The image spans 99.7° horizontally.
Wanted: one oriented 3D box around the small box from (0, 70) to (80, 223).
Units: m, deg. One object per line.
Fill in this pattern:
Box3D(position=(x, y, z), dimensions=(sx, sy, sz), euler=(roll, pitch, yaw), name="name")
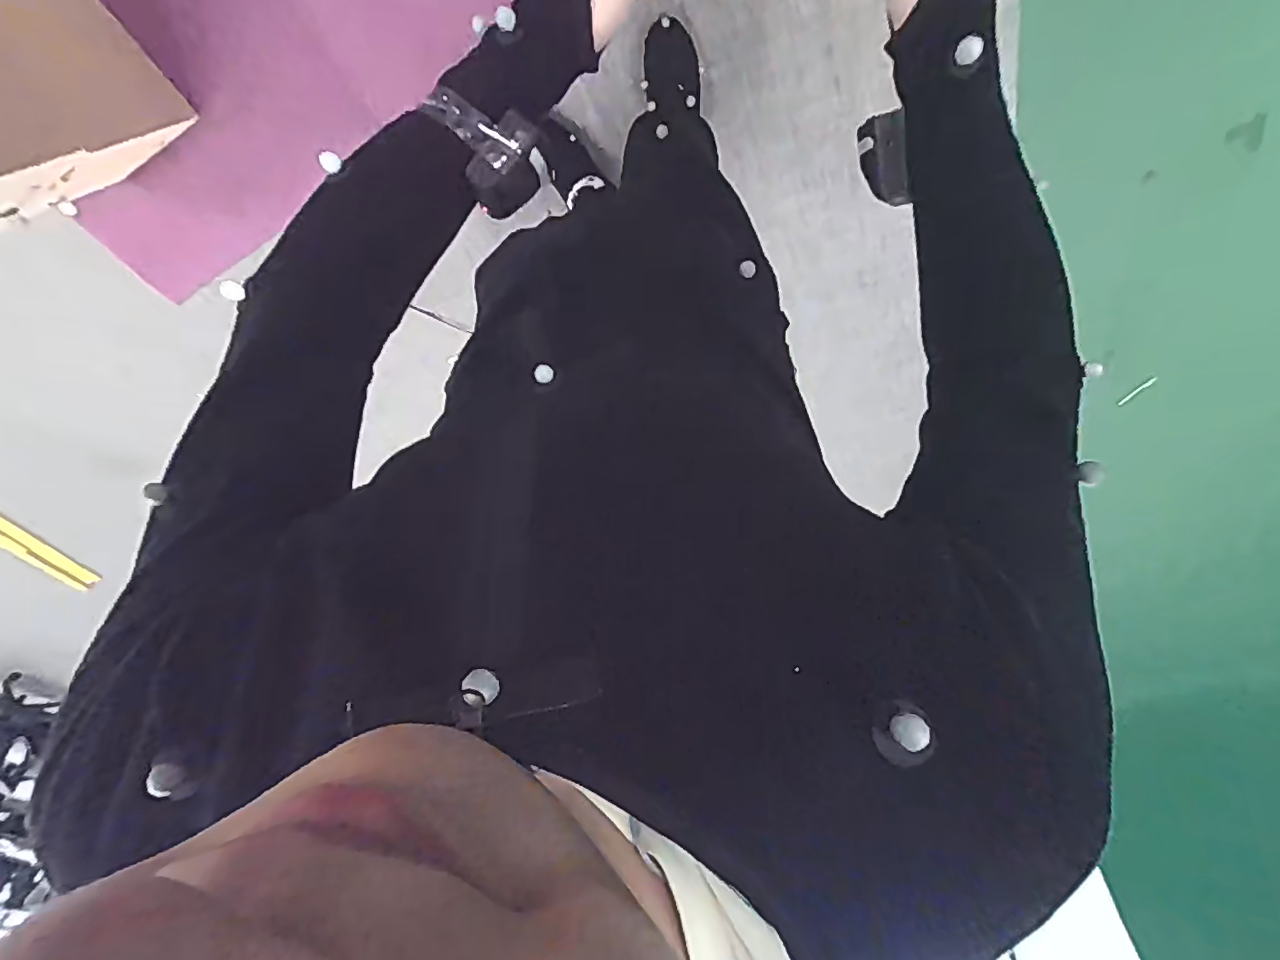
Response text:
Box3D(position=(-0.651, -0.298, 0.443), dimensions=(0.168, 0.176, 0.179), euler=(-18, 131, 22), name="small box")
